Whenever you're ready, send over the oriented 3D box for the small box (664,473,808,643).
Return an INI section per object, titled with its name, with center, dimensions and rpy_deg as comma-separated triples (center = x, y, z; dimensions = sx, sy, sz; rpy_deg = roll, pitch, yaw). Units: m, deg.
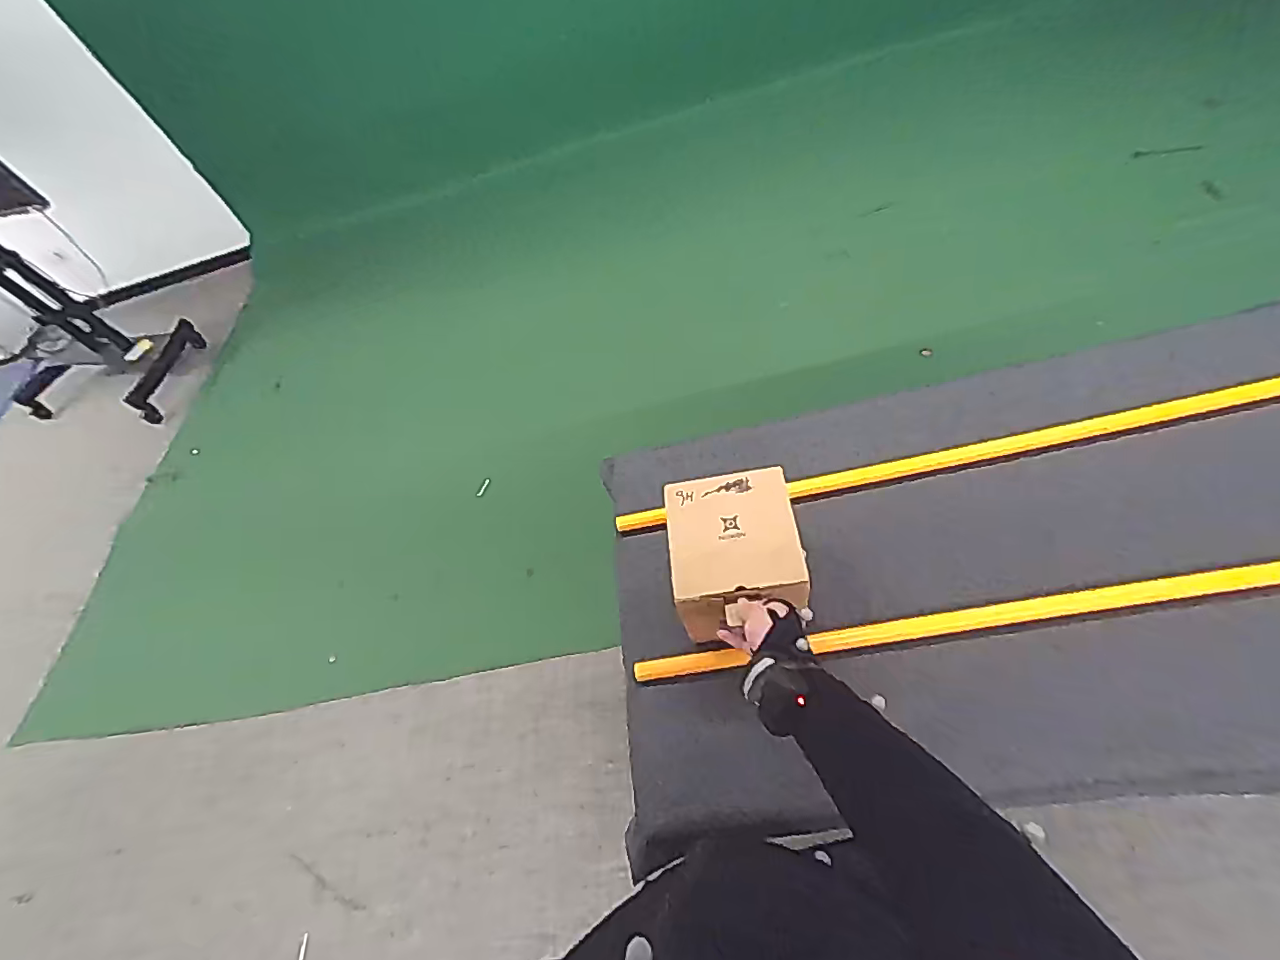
[small box]
center = 0.138, 0.120, 0.767
dimensions = 0.168, 0.176, 0.179
rpy_deg = -12, 53, 8
